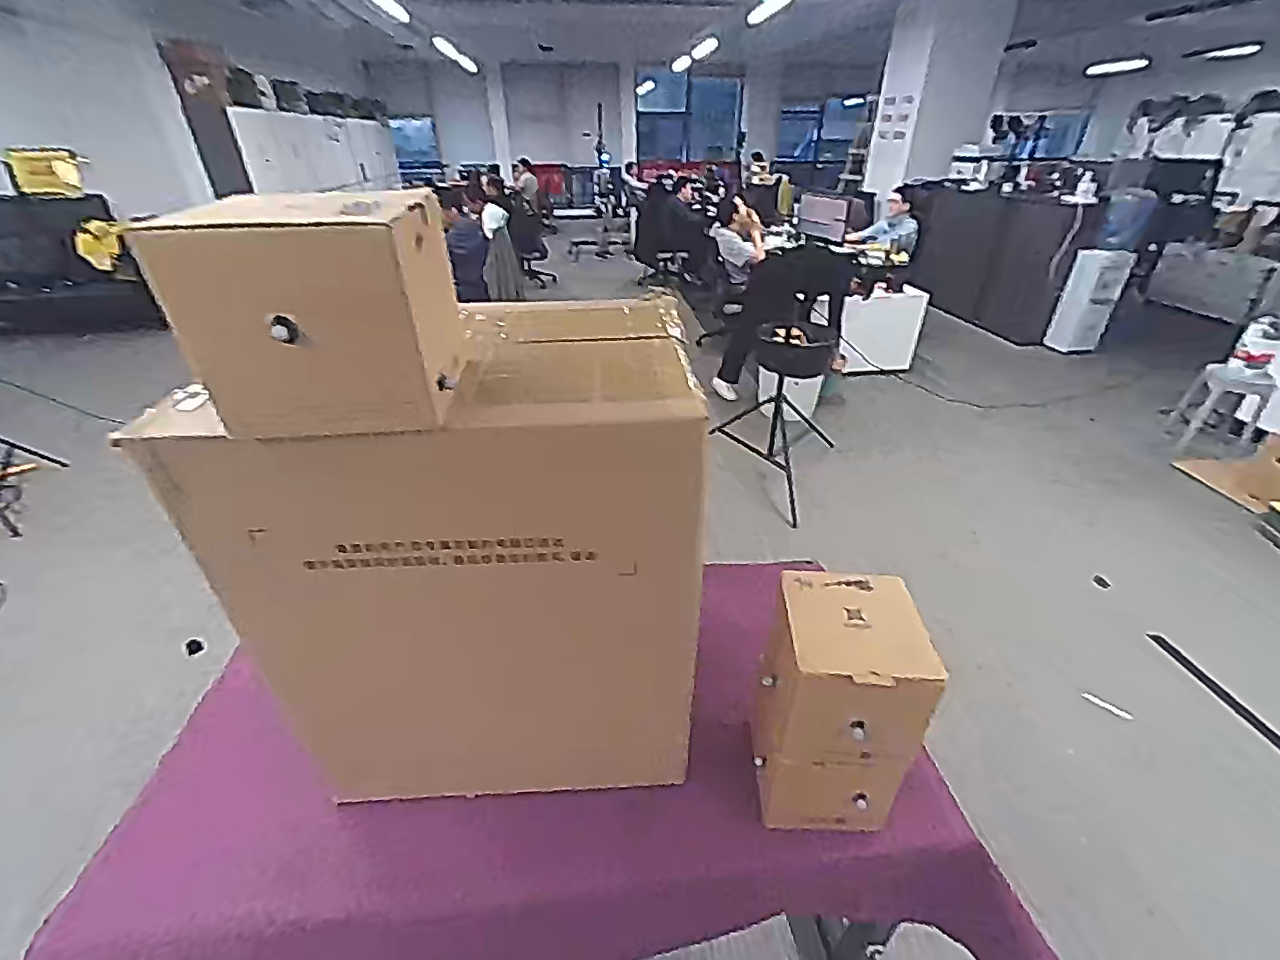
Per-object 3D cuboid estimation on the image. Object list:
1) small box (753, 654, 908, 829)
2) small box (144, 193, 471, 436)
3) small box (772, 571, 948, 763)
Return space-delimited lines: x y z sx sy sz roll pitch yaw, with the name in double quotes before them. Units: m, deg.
"small box" 0.266 0.384 0.799 0.168 0.176 0.179 1 30 2
"small box" -0.262 -0.152 0.486 0.179 0.176 0.168 -5 34 -4
"small box" 0.272 0.244 0.714 0.168 0.176 0.179 2 32 6
